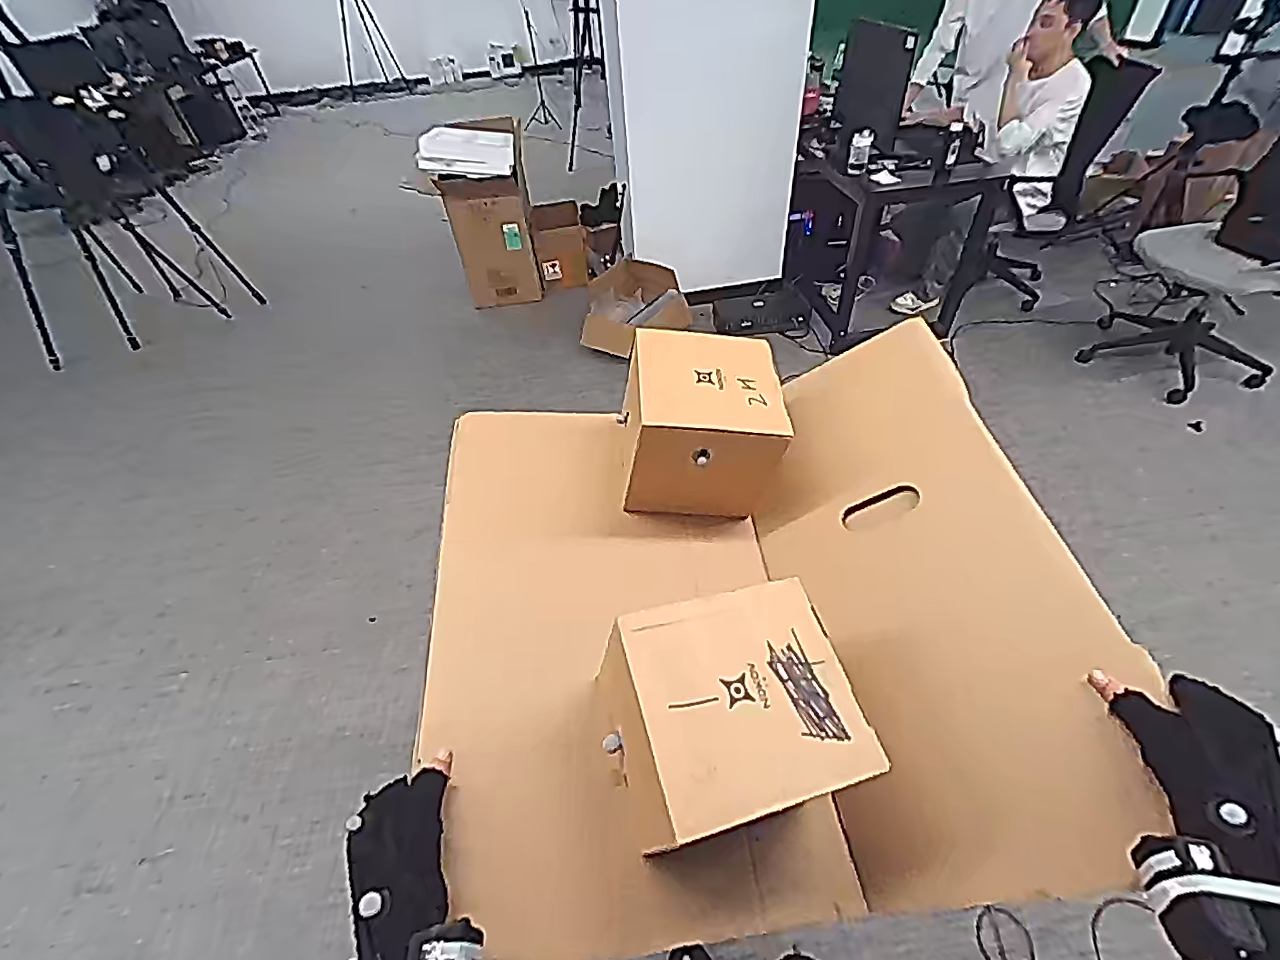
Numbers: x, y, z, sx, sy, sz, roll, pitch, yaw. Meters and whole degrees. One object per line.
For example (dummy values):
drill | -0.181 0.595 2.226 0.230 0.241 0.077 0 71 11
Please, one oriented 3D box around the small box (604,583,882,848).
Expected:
small box | 0.074 0.218 0.499 0.179 0.176 0.168 -9 55 -16

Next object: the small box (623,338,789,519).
small box | 0.072 -0.061 0.711 0.179 0.176 0.168 4 53 -8
